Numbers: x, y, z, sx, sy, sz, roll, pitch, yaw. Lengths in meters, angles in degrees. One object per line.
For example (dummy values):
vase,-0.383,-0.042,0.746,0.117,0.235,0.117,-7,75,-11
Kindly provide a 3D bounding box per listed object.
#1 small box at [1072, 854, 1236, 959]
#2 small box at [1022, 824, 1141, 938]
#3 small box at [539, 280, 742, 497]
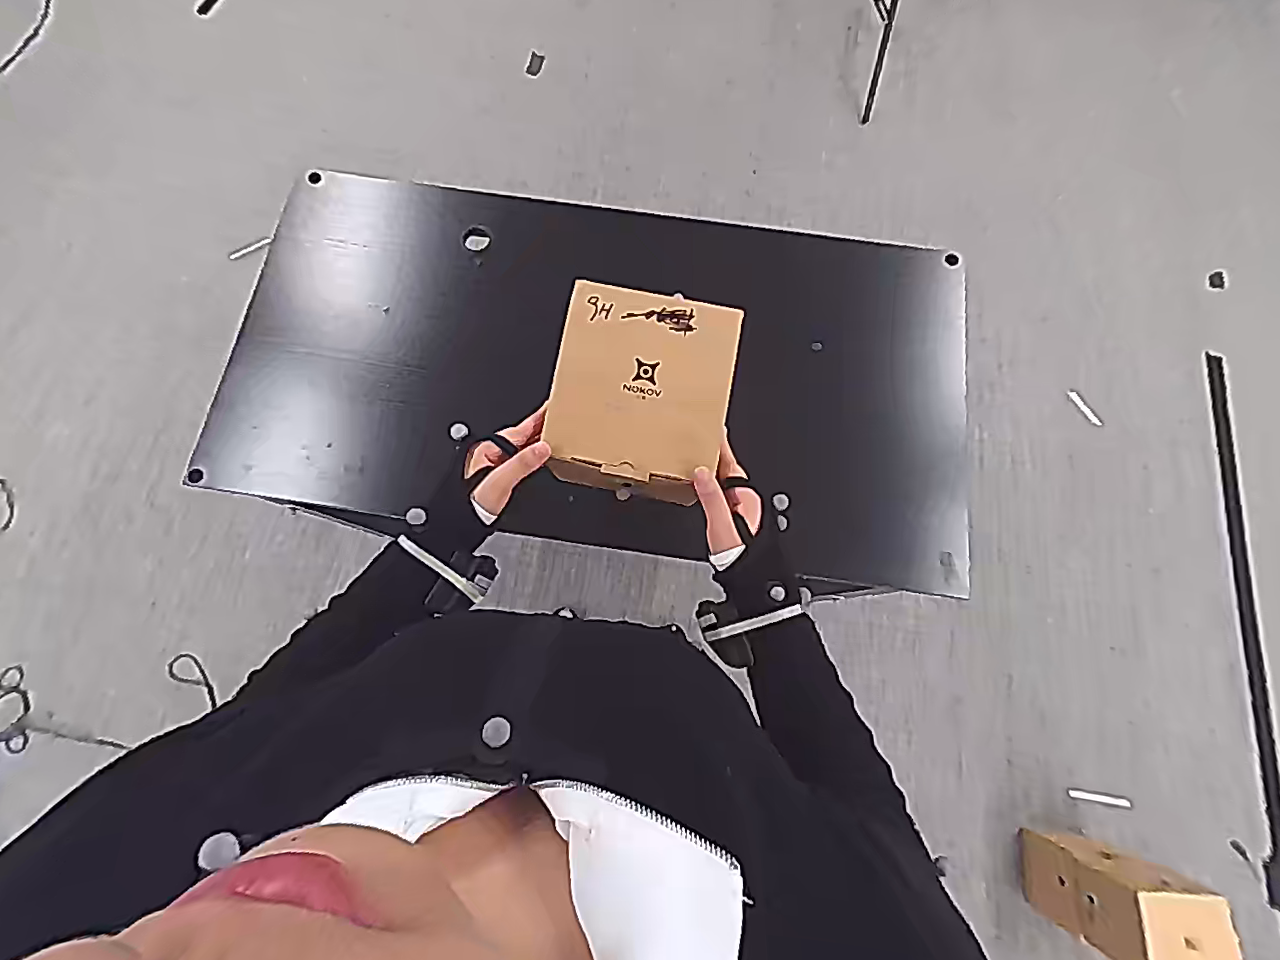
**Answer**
small box,1.048,0.898,1.112,0.179,0.176,0.168,2,74,1
small box,1.036,0.937,1.270,0.168,0.176,0.179,6,76,1
small box,0.002,-0.082,0.583,0.168,0.176,0.179,11,83,0
